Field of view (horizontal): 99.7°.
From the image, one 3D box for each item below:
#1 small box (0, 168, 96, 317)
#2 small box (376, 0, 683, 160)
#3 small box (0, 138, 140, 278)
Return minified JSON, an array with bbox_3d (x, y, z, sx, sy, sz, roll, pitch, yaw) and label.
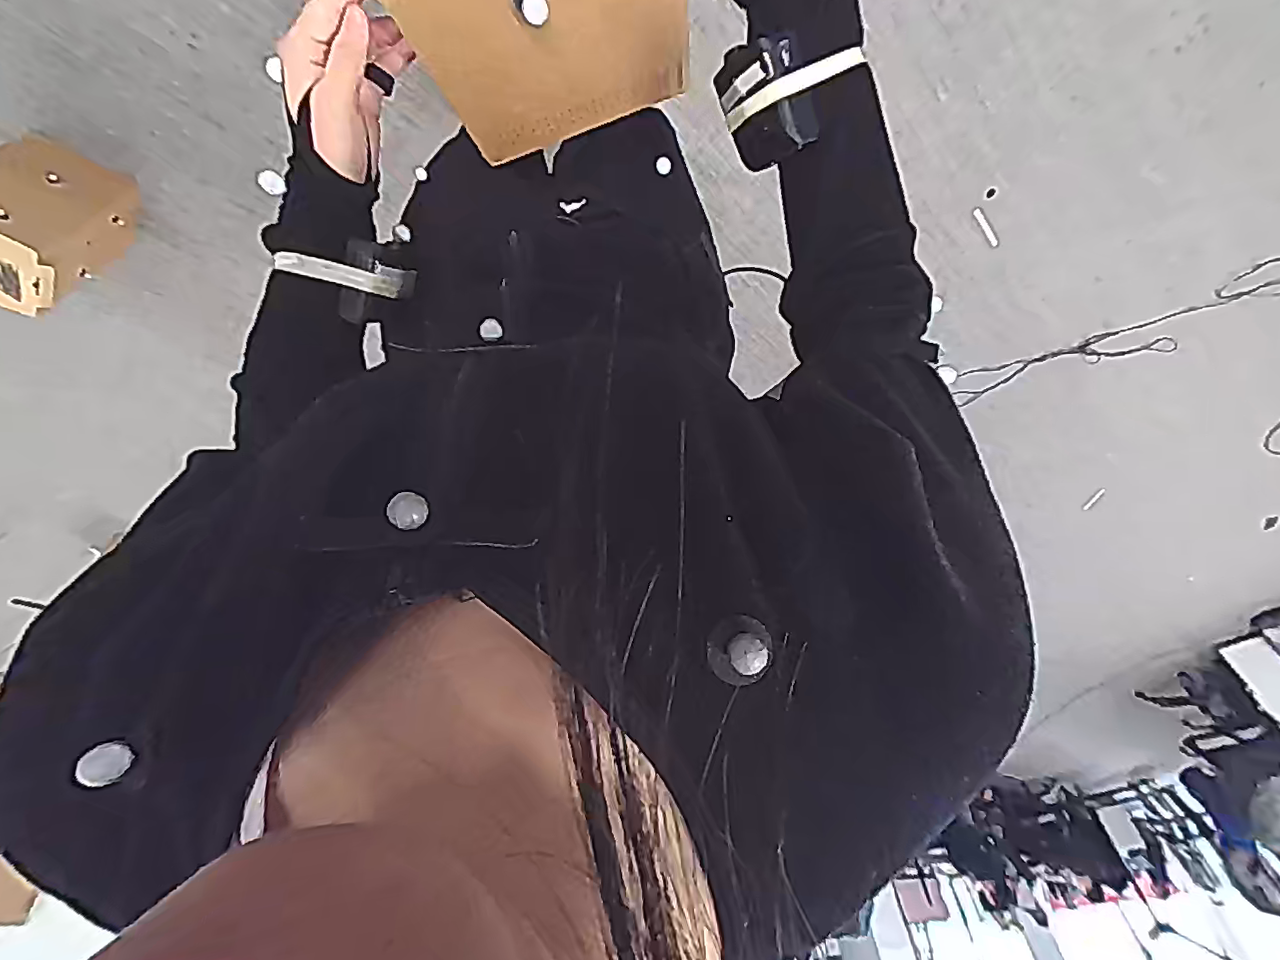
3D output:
[{"bbox_3d":[-1.171,-0.448,1.004,0.179,0.176,0.168,26,127,-30],"label":"small box"},{"bbox_3d":[-0.074,-0.359,0.358,0.179,0.168,0.176,-18,179,7],"label":"small box"},{"bbox_3d":[-1.189,-0.565,1.118,0.179,0.176,0.168,26,127,-29],"label":"small box"}]
